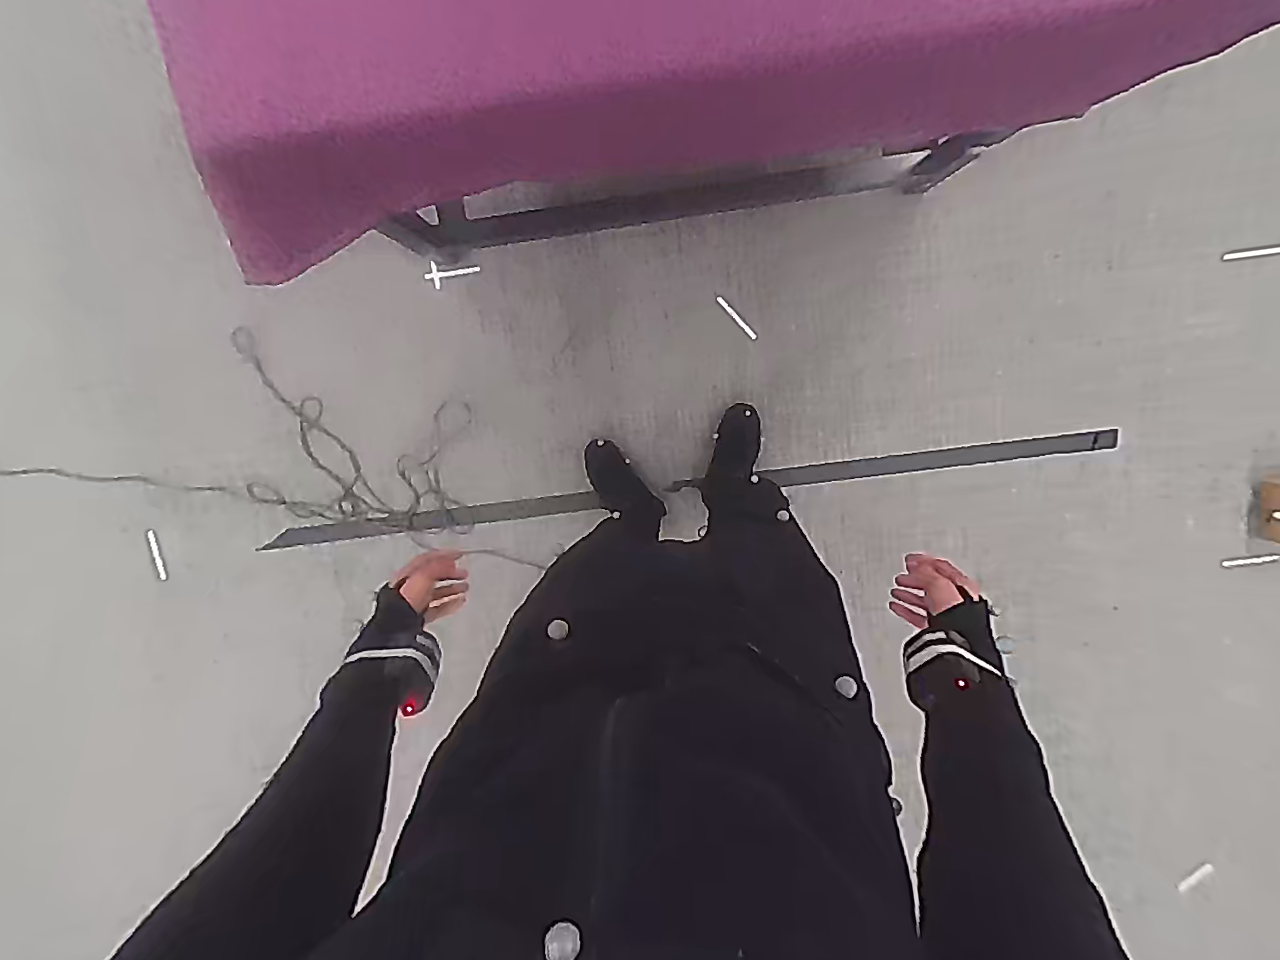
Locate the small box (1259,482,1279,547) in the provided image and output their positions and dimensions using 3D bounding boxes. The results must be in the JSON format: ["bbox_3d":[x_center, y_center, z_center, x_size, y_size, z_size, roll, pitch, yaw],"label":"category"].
[{"bbox_3d":[1.725,0.089,1.345,0.179,0.176,0.168,-11,101,2],"label":"small box"}]
